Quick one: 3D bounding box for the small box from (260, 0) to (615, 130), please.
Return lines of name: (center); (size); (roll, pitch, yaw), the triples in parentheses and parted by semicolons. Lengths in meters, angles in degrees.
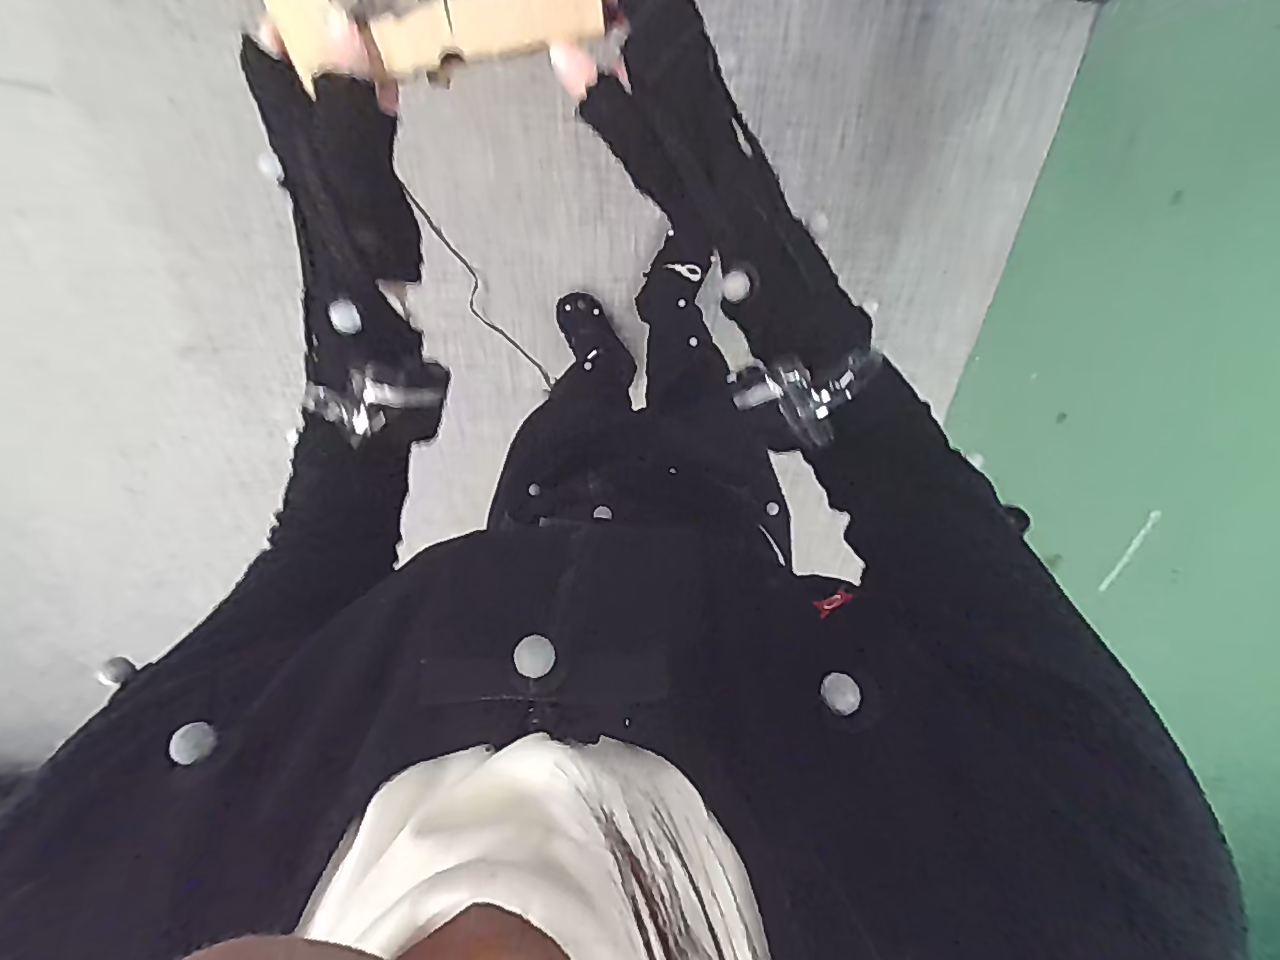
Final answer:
small box: (-0.109, -0.320, 0.300); (0.168, 0.176, 0.179); (-6, 130, 5)
